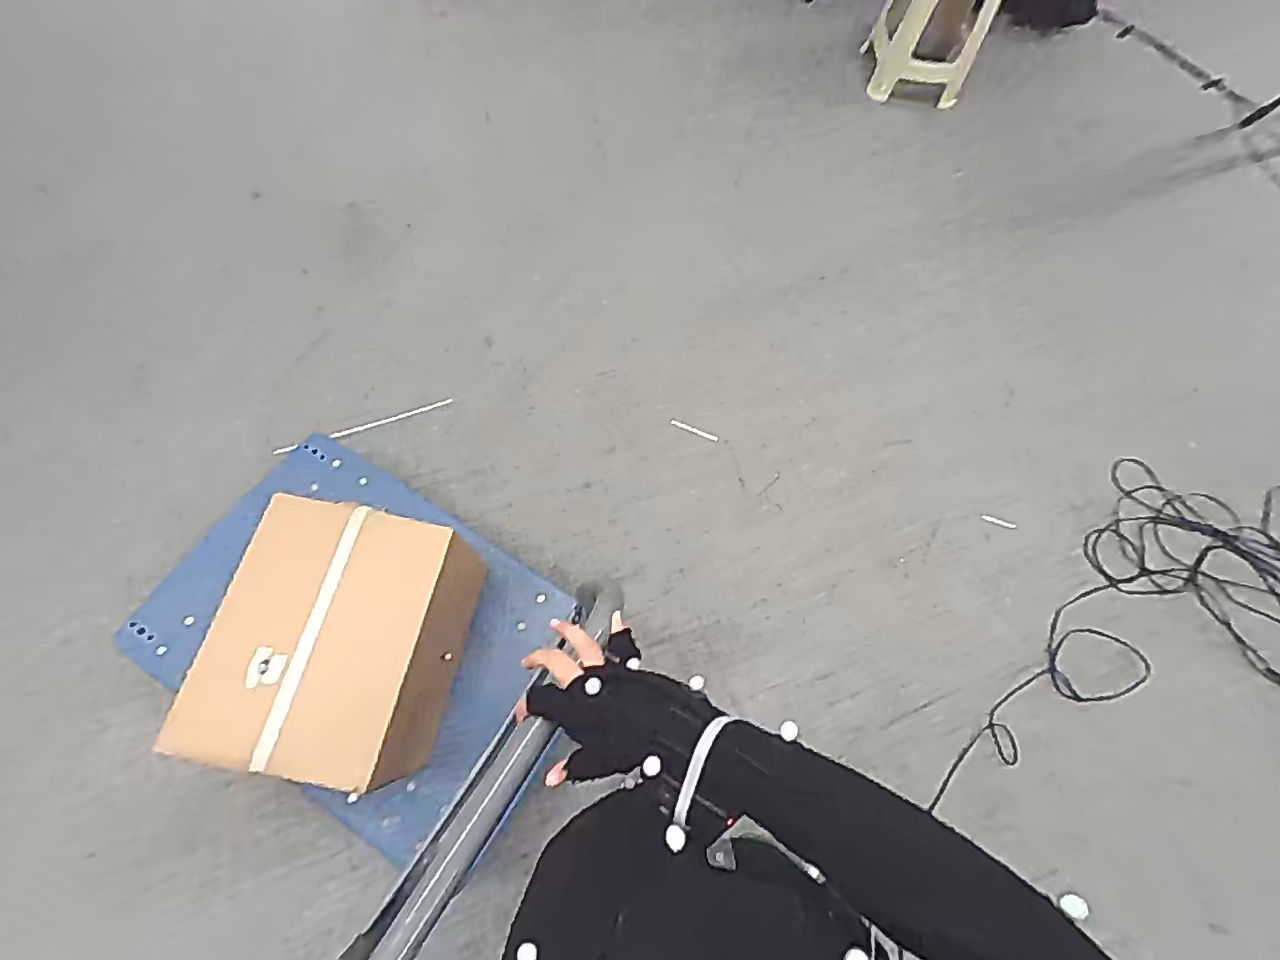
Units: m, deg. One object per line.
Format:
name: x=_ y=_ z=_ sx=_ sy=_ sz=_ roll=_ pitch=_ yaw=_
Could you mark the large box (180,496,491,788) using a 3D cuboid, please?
large box: x=-0.497 y=0.286 z=0.991 sx=0.320 sy=0.320 sz=0.408 roll=11 pitch=69 yaw=1
